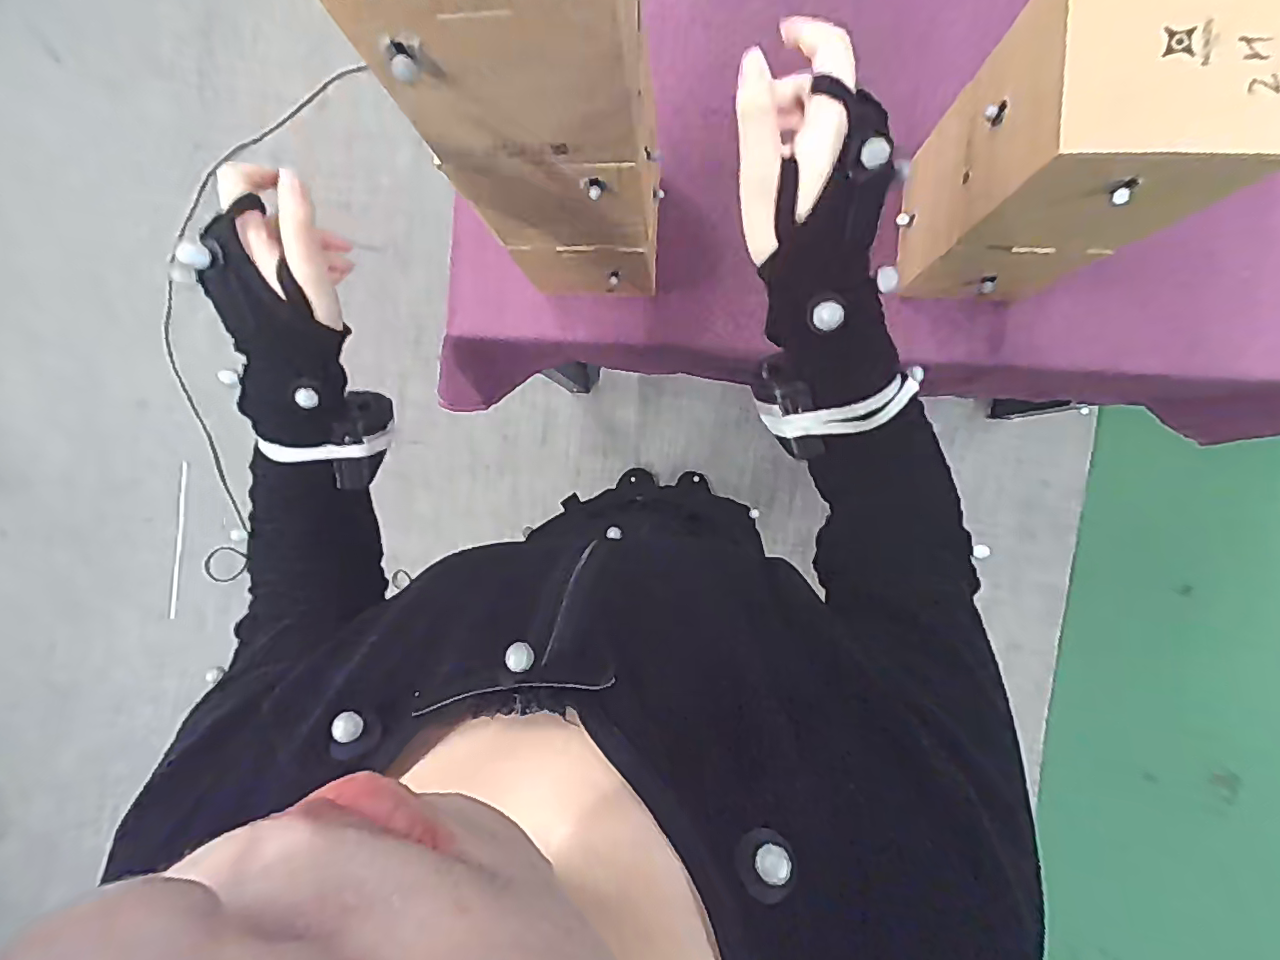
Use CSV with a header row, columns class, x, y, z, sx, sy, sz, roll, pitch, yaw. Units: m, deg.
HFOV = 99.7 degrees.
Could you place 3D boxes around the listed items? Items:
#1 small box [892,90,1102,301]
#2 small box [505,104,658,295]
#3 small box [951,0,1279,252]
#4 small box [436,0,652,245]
class,x,y,z,sx,sy,sz,roll,pitch,yaw
small box,0.424,-0.328,0.656,0.168,0.176,0.179,5,92,4
small box,-0.065,-0.349,0.694,0.168,0.176,0.179,3,91,3
small box,0.413,-0.322,0.491,0.179,0.176,0.168,4,92,4
small box,-0.081,-0.346,0.532,0.179,0.176,0.168,1,92,3
